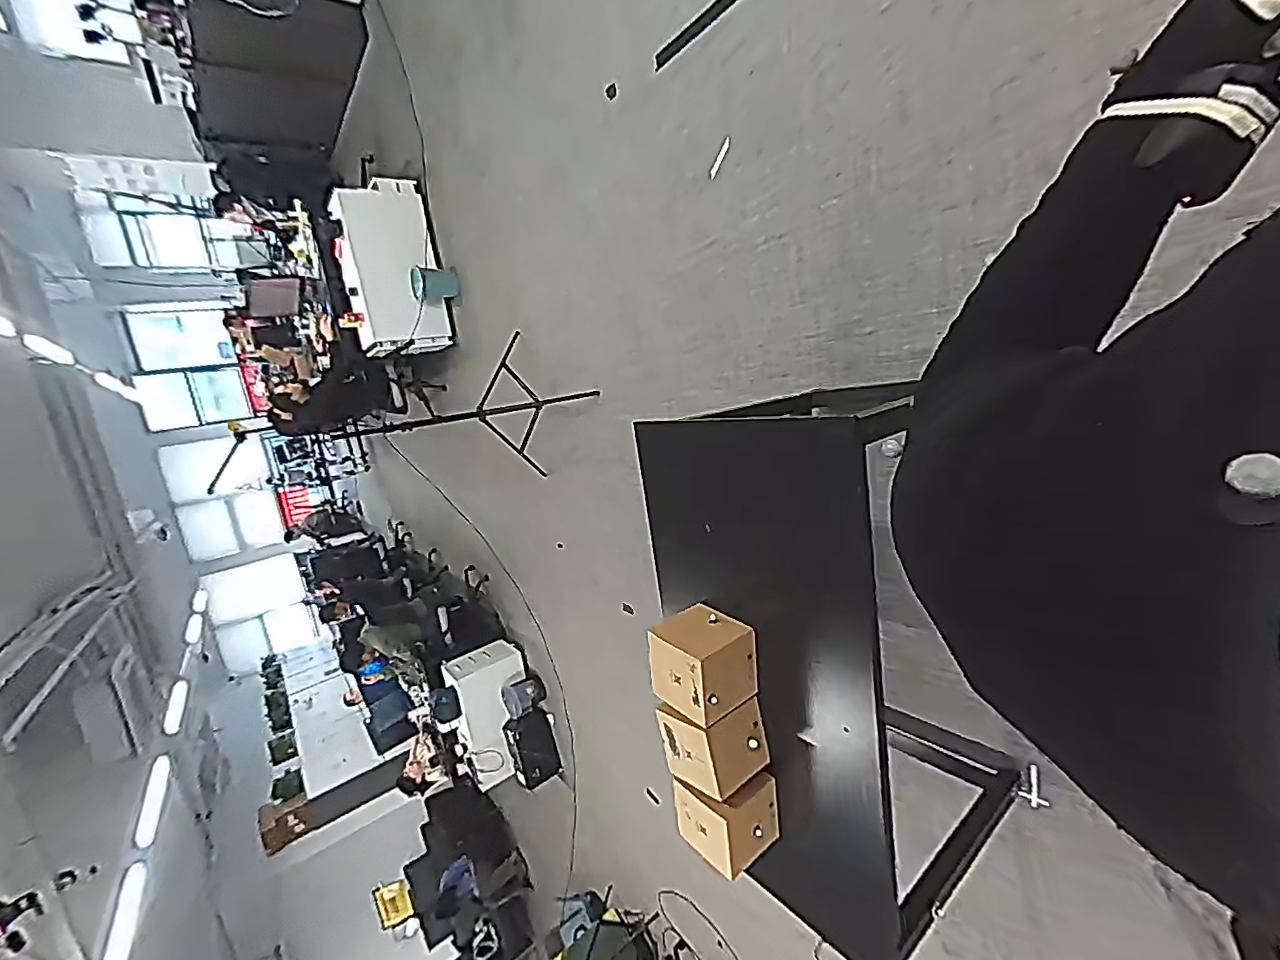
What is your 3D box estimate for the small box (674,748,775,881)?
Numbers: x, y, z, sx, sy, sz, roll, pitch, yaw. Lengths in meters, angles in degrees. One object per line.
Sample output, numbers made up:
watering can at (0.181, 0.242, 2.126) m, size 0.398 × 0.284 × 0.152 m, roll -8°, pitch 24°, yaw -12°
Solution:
small box at (0.204, 0.770, 1.270) m, size 0.179 × 0.176 × 0.168 m, roll 11°, pitch 111°, yaw 53°
